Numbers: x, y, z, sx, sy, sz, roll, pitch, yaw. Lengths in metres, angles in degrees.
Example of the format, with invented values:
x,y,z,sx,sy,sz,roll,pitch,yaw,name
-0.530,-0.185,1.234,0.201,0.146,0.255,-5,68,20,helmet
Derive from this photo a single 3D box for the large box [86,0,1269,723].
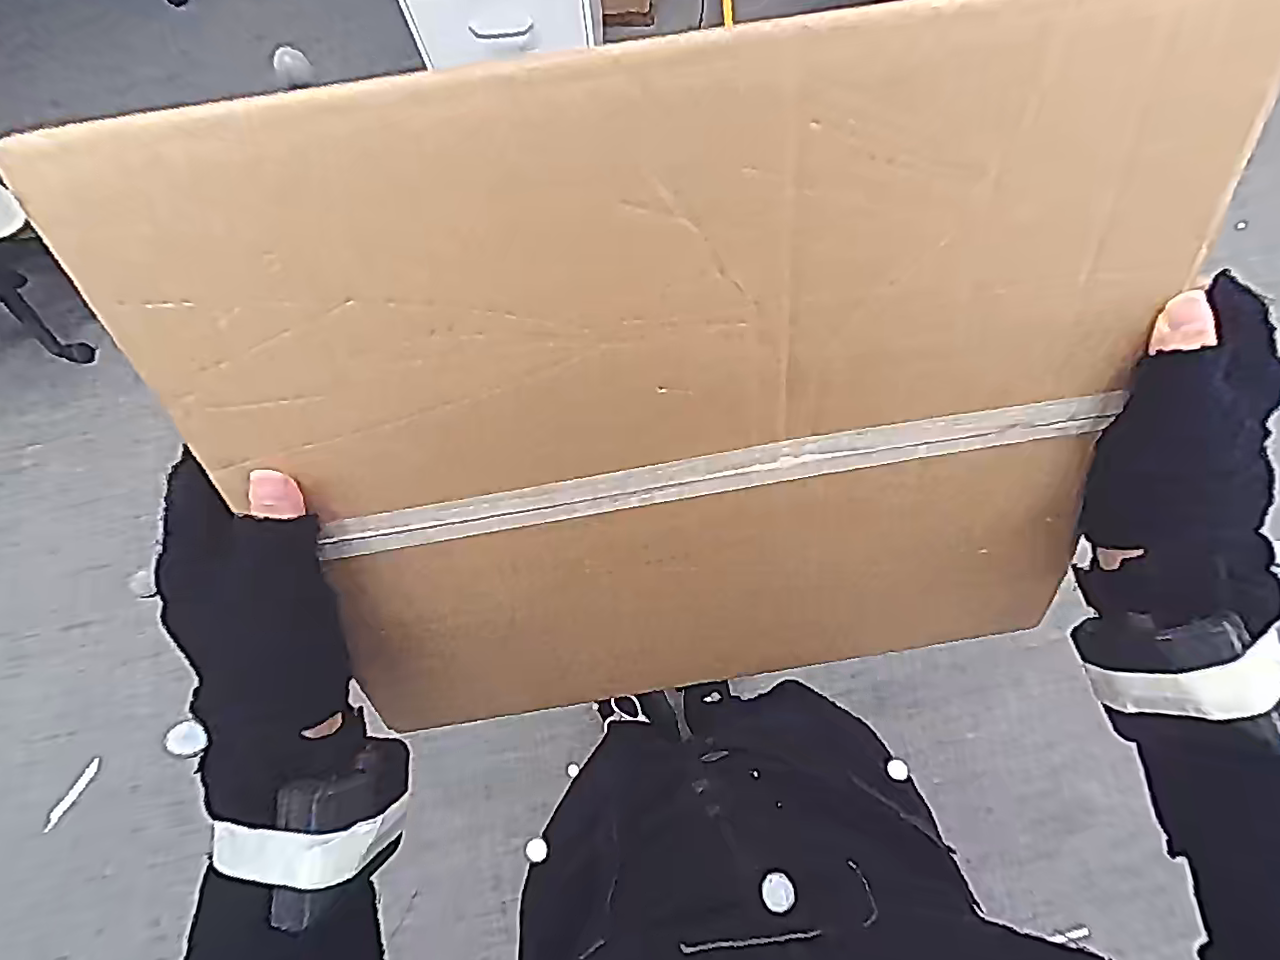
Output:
x,y,z,sx,sy,sz,roll,pitch,yaw,name
0.016,-0.085,0.381,0.408,0.320,0.320,-9,35,-1,large box
